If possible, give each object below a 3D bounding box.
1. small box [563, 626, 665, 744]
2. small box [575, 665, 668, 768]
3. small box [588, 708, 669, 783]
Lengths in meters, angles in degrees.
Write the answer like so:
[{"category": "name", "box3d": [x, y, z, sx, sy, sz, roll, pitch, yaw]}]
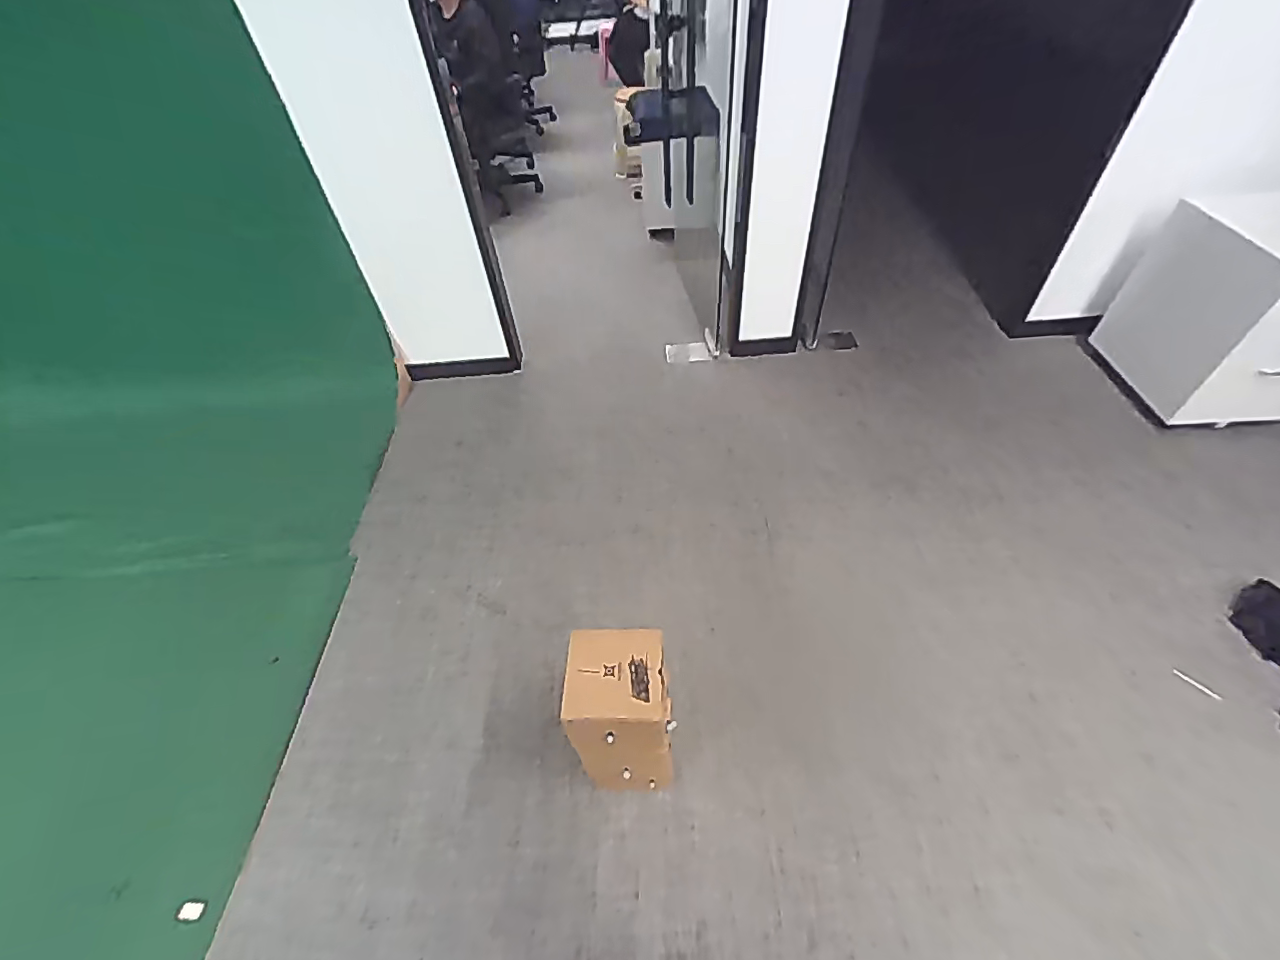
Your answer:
[{"category": "small box", "box3d": [-0.043, 0.390, 1.027, 0.179, 0.176, 0.168, -2, 49, 1]}, {"category": "small box", "box3d": [-0.031, 0.500, 1.149, 0.179, 0.176, 0.168, 1, 49, 5]}, {"category": "small box", "box3d": [-0.020, 0.603, 1.276, 0.179, 0.176, 0.168, -3, 48, 3]}]
